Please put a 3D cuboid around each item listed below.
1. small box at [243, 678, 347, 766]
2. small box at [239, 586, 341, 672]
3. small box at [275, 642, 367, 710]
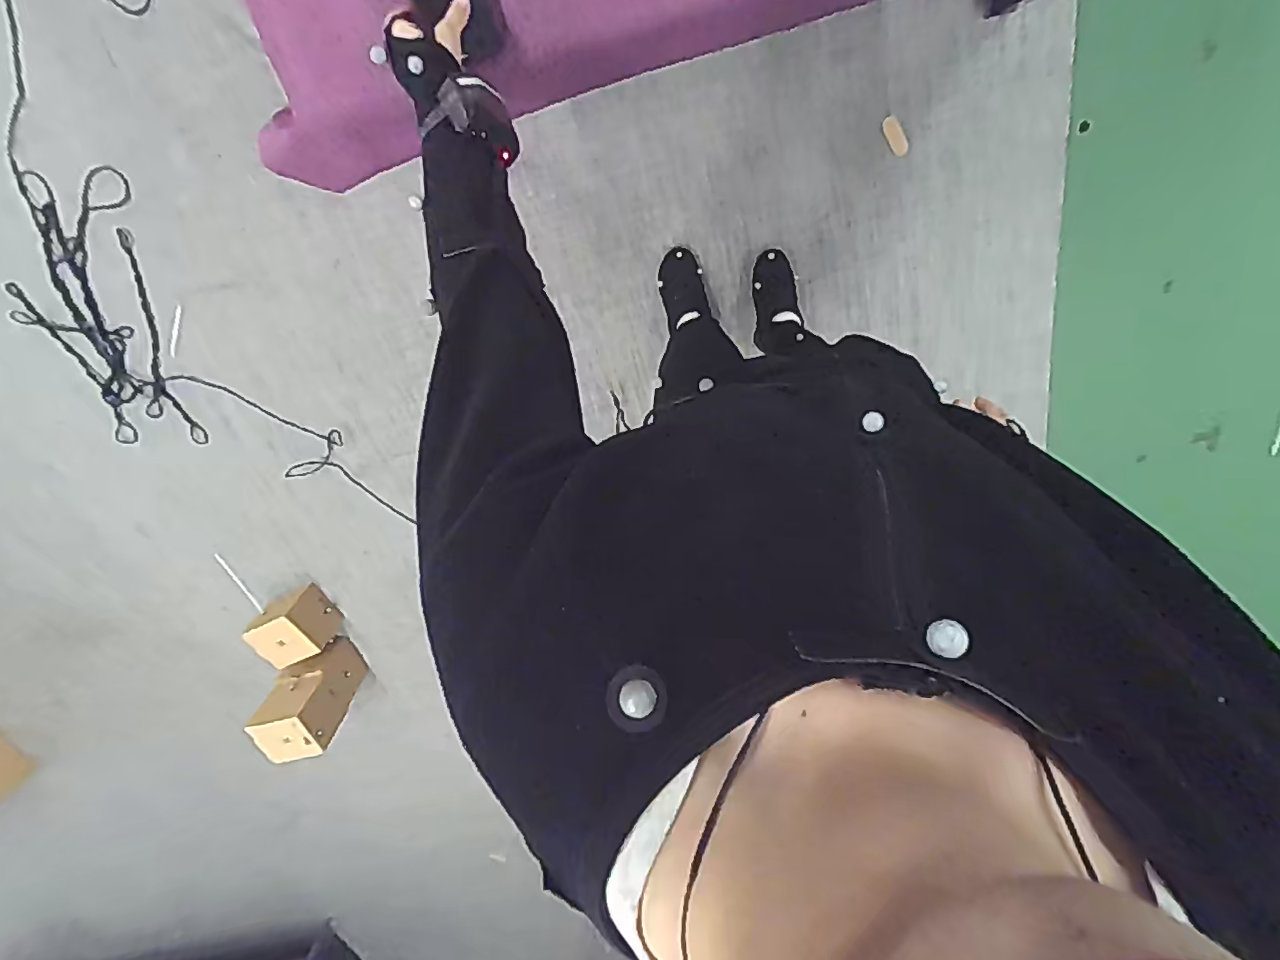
[{"bbox_3d":[-1.051,0.740,1.661,0.179,0.176,0.168,-13,116,7],"label":"small box"},{"bbox_3d":[-1.095,0.468,1.710,0.179,0.176,0.168,-24,115,10],"label":"small box"},{"bbox_3d":[-1.055,0.663,1.806,0.168,0.176,0.179,-14,116,7],"label":"small box"}]
